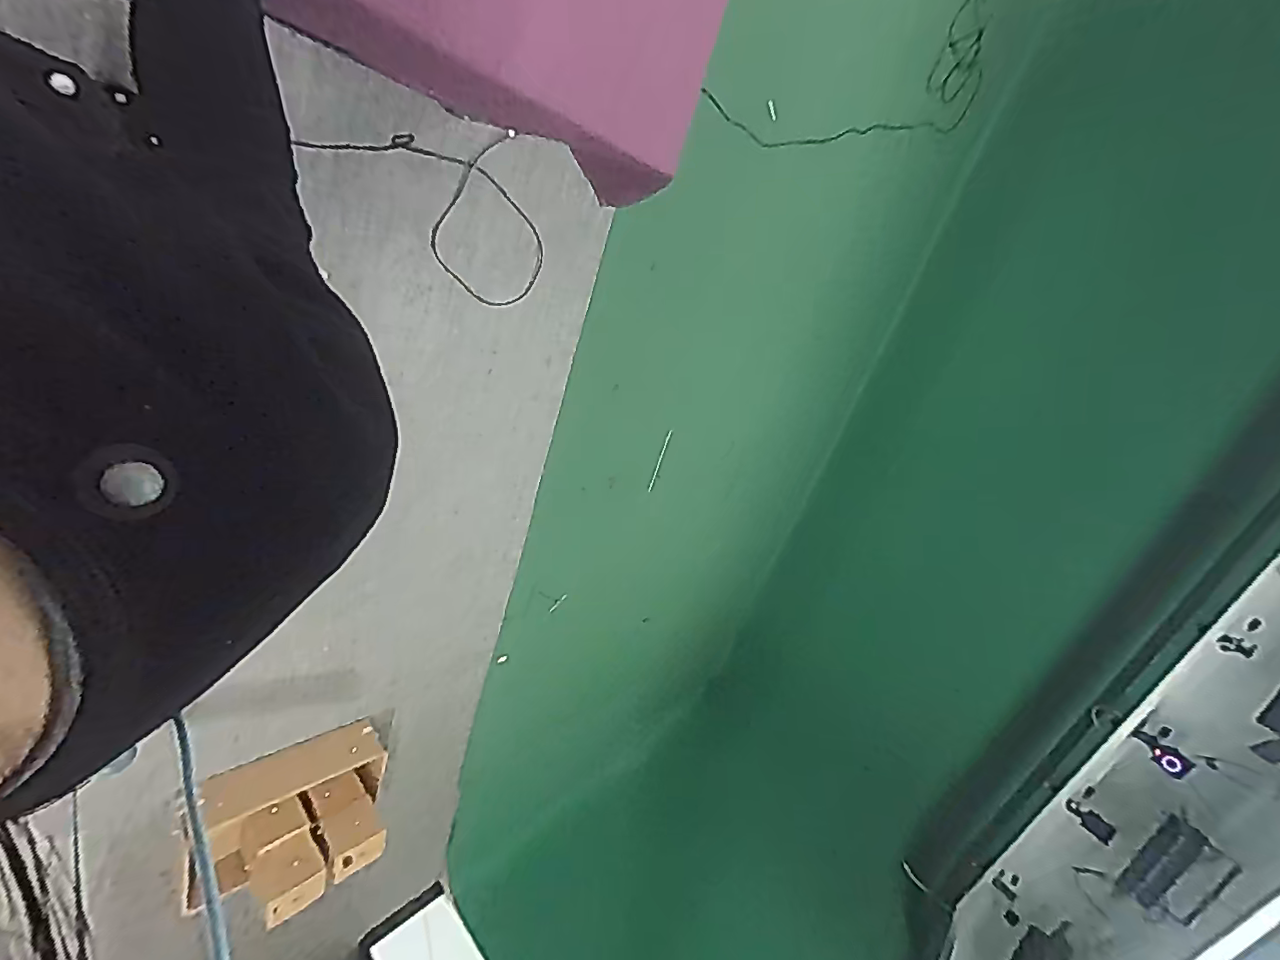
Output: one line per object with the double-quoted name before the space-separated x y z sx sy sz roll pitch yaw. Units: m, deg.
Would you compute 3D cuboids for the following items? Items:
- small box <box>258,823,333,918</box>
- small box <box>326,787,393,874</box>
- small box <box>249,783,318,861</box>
"small box" -1.199 1.350 1.882 0.179 0.176 0.168 -13 129 -48
"small box" -1.056 1.307 2.026 0.179 0.176 0.168 -11 126 -47
"small box" -1.303 1.255 1.970 0.168 0.176 0.179 -8 124 -51
